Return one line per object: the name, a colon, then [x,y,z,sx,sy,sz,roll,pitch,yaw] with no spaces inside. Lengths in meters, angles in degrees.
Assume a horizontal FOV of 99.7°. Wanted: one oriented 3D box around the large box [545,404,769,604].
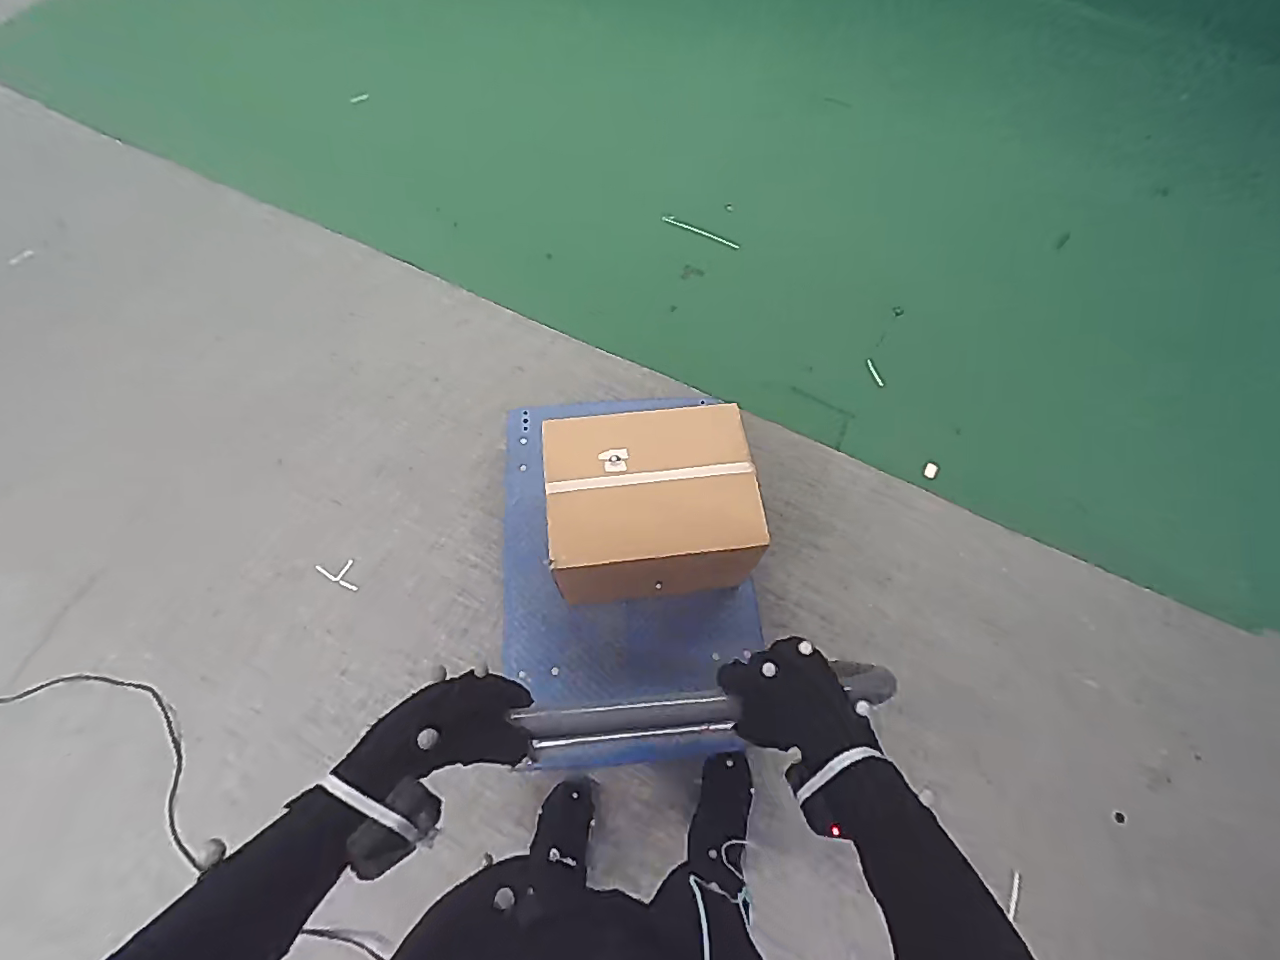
large box: [0.026,0.067,1.192,0.408,0.320,0.320,-8,65,-4]
